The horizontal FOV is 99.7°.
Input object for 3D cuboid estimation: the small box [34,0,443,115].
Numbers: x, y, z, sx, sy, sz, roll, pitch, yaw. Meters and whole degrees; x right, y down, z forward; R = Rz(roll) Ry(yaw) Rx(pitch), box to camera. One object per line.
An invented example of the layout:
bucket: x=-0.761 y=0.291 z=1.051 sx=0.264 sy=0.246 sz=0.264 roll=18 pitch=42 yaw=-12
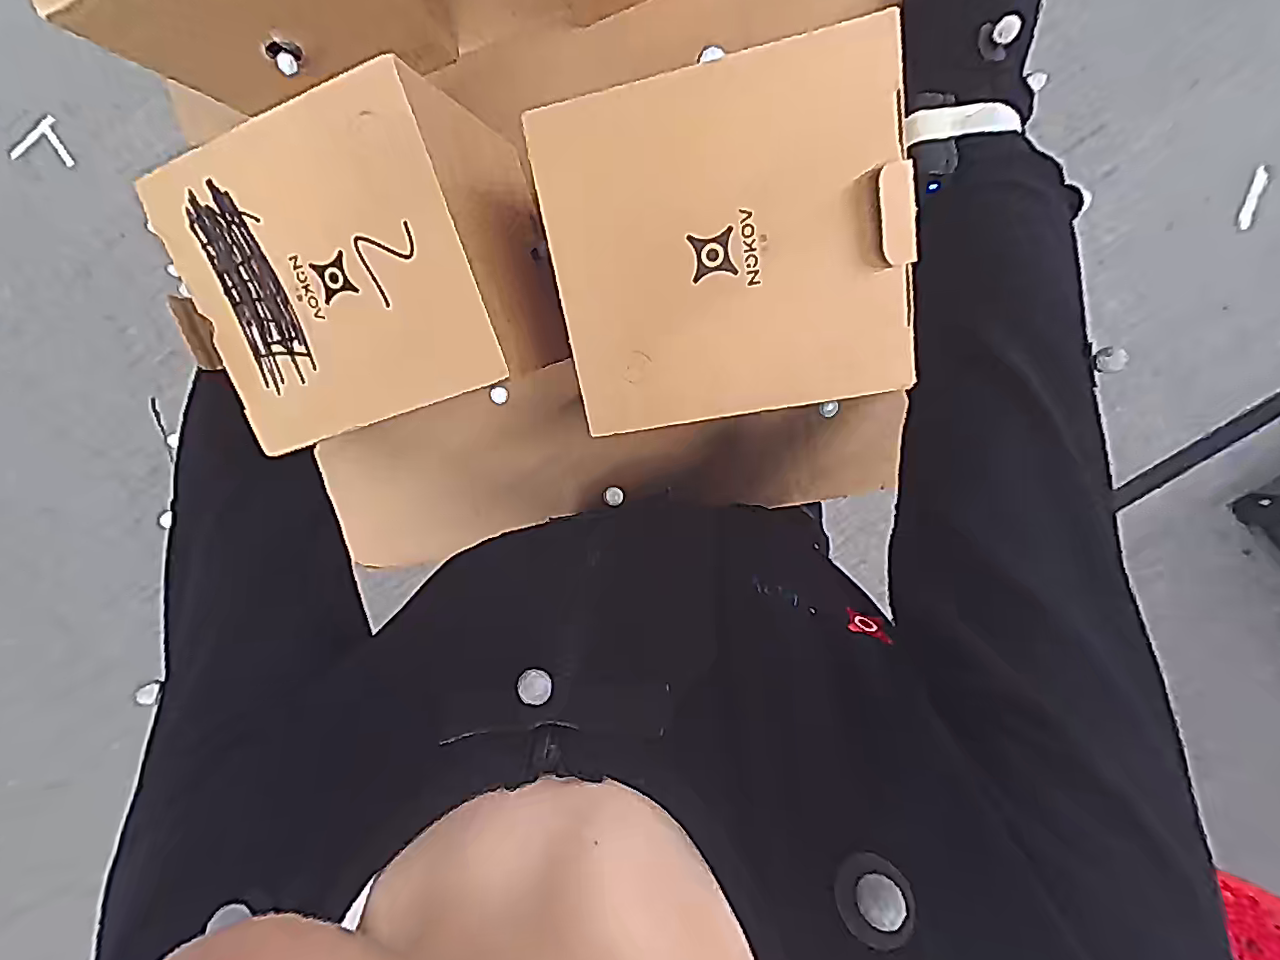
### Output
small box: x=-0.252 y=-0.362 z=0.336 sx=0.168 sy=0.176 sz=0.179 roll=-12 pitch=101 yaw=12
